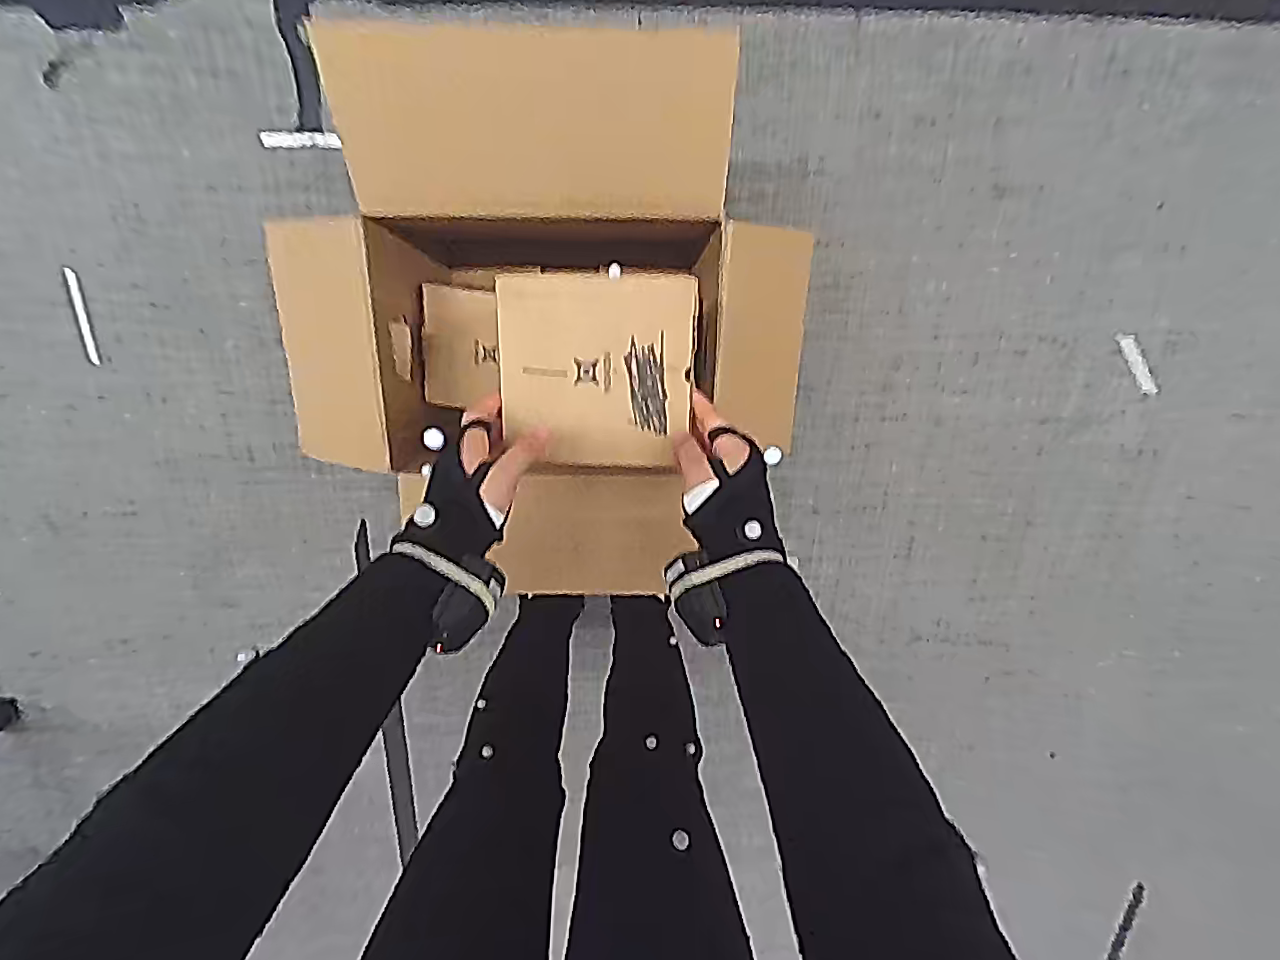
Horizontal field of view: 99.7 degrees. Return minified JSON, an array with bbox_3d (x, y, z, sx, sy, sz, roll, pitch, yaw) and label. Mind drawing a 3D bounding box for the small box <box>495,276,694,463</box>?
[{"bbox_3d":[-0.038,-0.117,0.566,0.179,0.176,0.168,1,104,3],"label":"small box"}]
